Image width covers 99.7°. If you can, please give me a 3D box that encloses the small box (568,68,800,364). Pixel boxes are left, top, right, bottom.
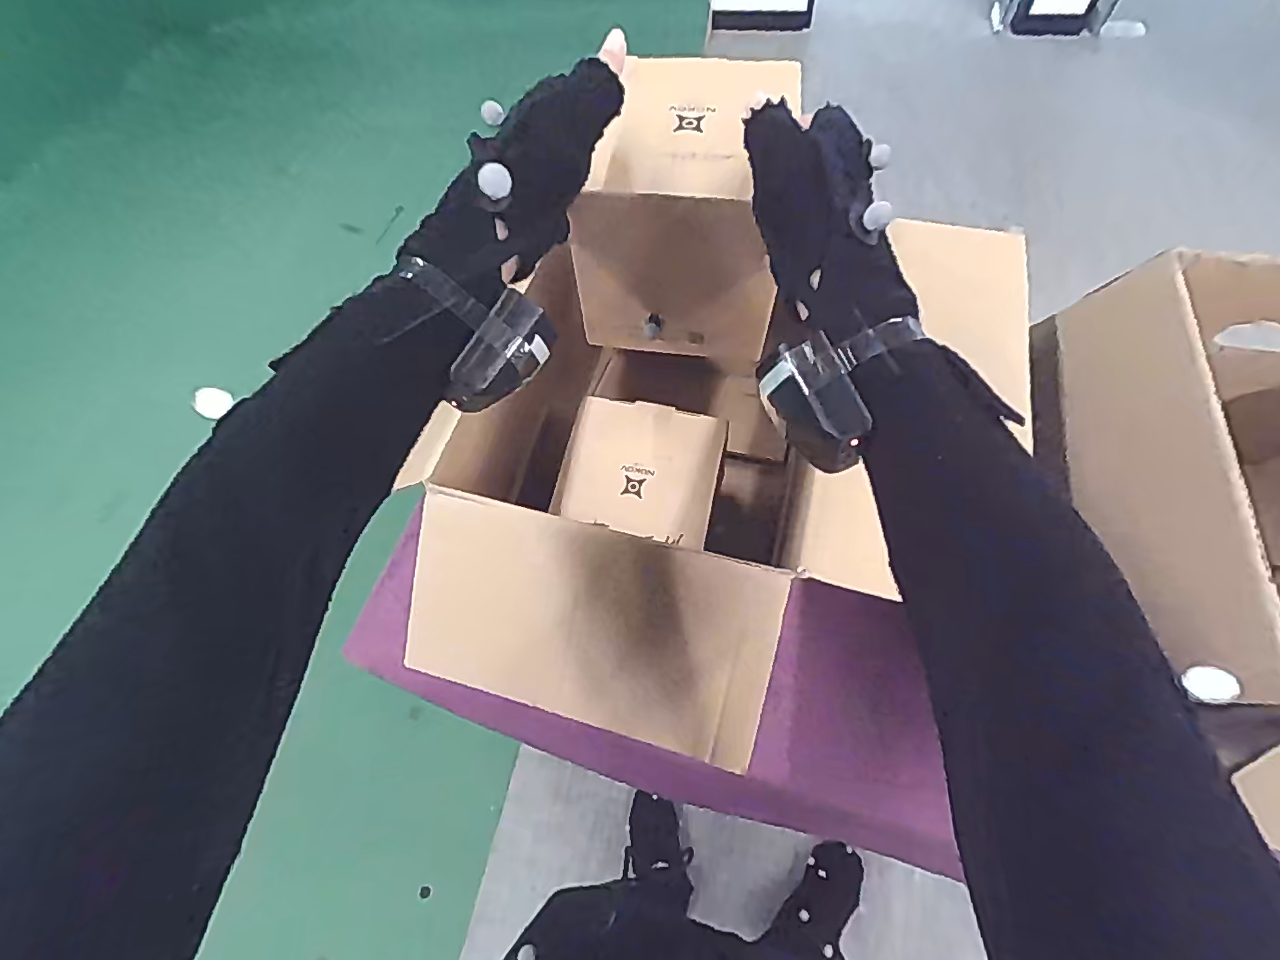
[{"bbox_3d":[0.043,-0.232,0.491,0.168,0.176,0.179,6,63,7],"label":"small box"}]
